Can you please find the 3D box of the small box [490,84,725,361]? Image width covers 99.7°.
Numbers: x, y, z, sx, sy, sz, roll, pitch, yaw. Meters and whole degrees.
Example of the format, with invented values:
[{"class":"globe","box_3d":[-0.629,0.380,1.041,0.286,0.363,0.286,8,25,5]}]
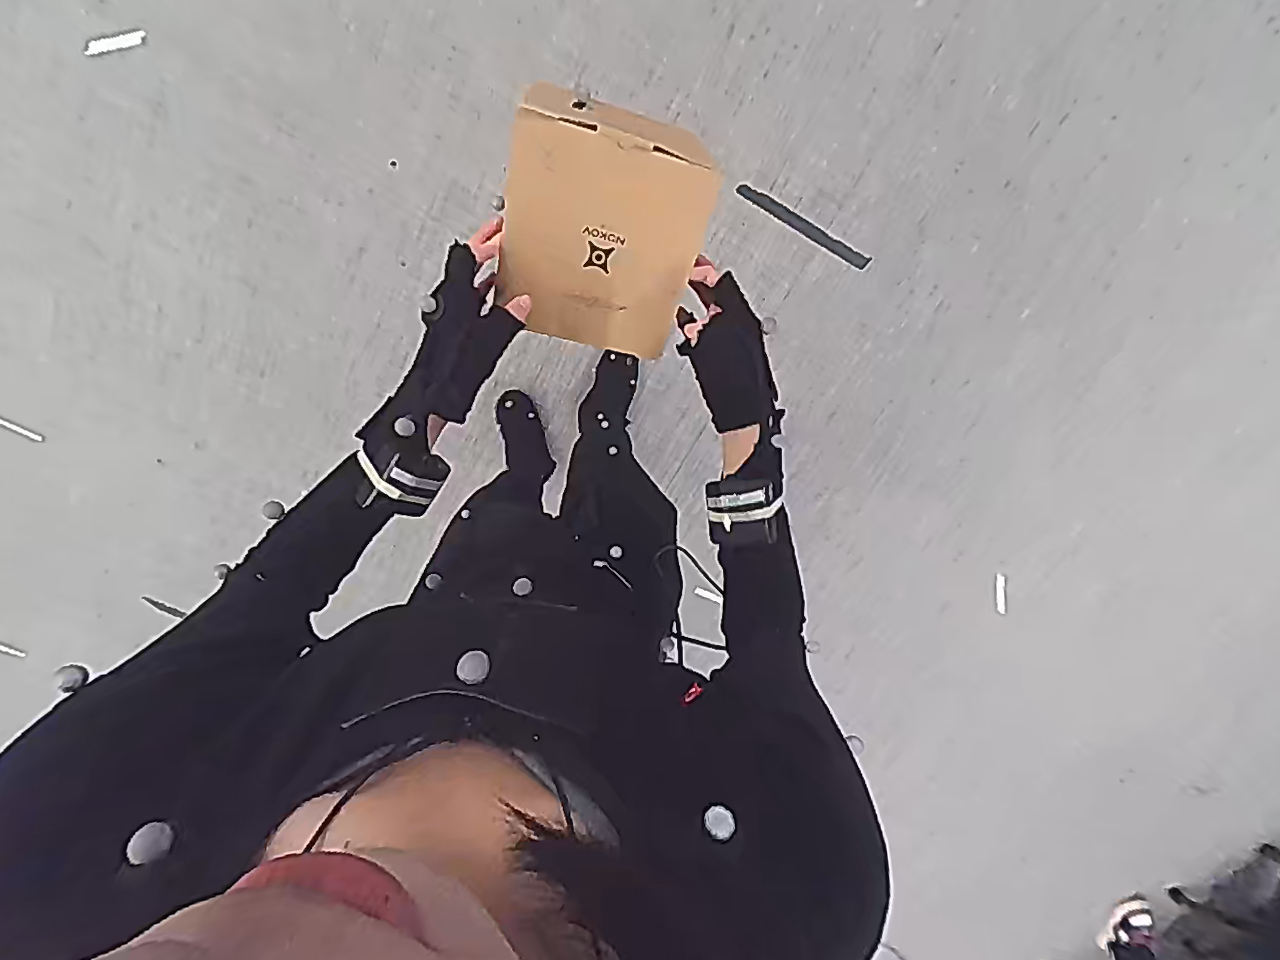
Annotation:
[{"class":"small box","box_3d":[-0.039,-0.245,0.512,0.168,0.176,0.179,10,130,-13]}]
